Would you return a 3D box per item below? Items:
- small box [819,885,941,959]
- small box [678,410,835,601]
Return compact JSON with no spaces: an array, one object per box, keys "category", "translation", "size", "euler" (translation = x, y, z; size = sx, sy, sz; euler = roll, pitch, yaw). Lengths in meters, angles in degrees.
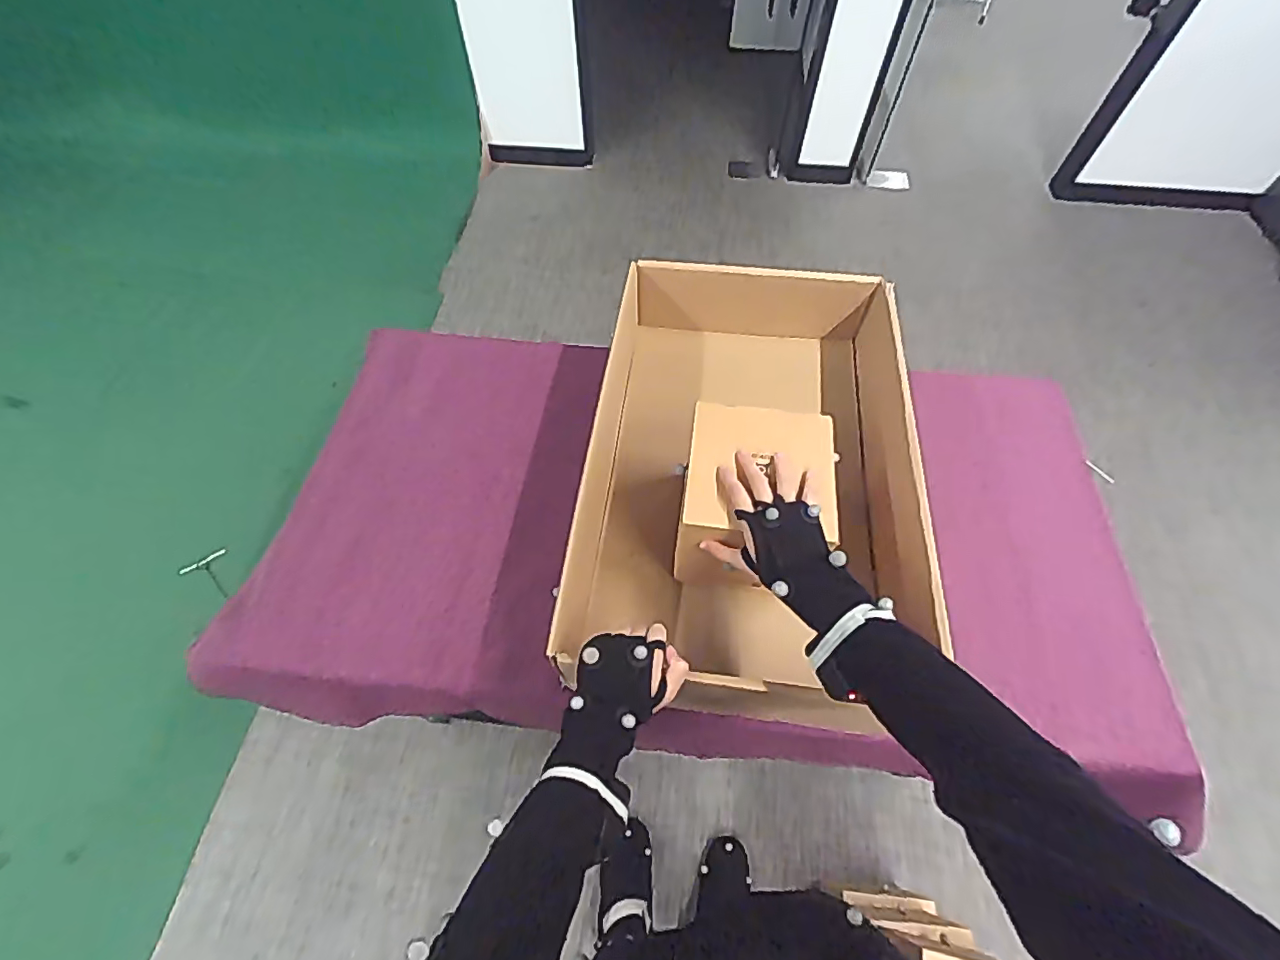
[{"category":"small box","translation":[0.465,0.912,1.059],"size":[0.179,0.176,0.168],"euler":[4,59,3]},{"category":"small box","translation":[0.138,0.037,0.681],"size":[0.168,0.176,0.179],"euler":[7,56,5]}]
